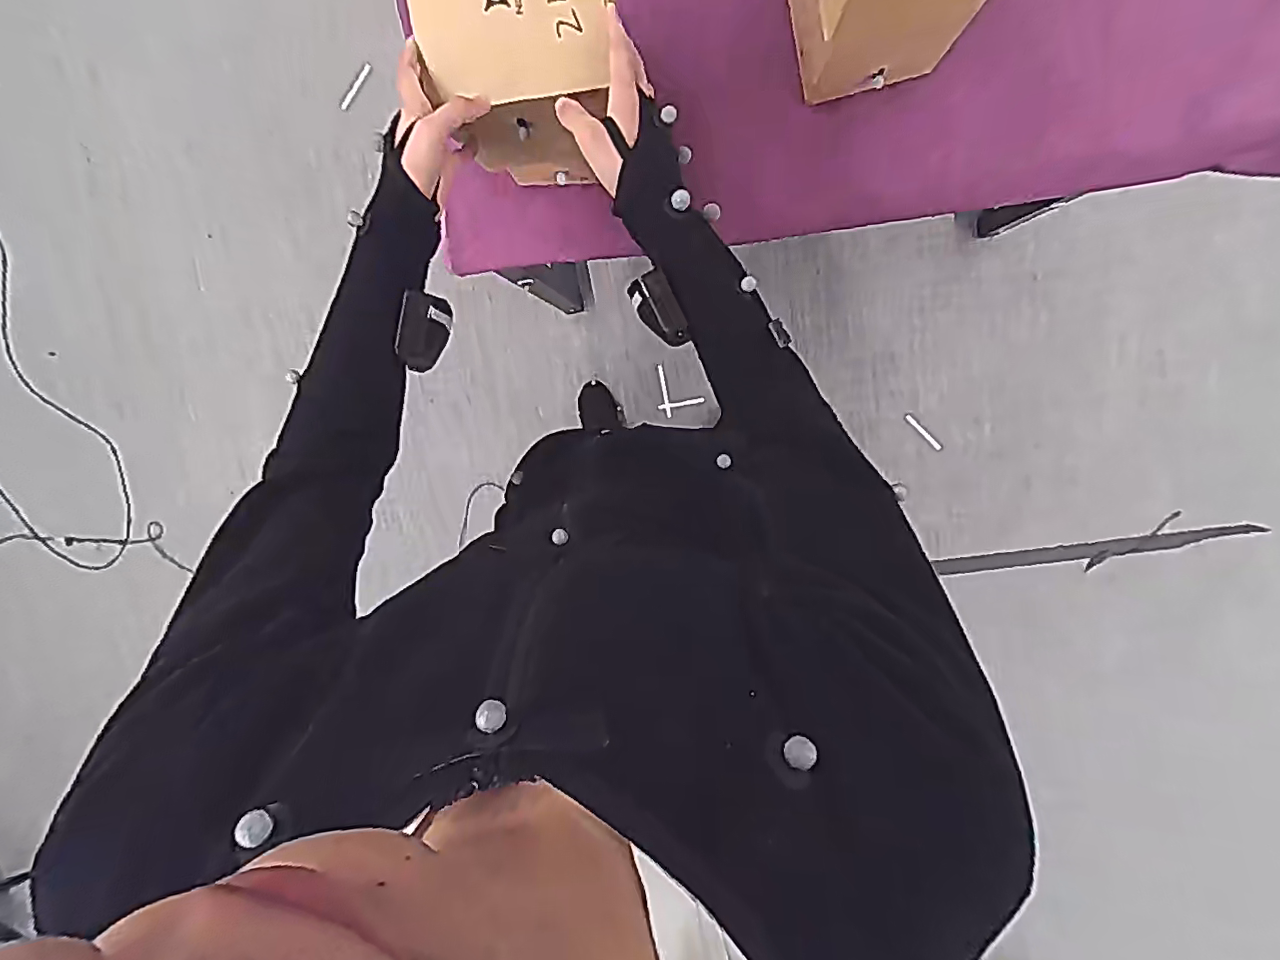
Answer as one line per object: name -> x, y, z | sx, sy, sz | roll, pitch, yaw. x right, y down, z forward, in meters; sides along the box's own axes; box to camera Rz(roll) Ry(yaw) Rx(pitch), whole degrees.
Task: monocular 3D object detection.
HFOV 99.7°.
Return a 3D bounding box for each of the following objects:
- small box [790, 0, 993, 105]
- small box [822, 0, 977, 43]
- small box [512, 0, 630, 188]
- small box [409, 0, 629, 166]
small box -> 0.301, -0.612, 0.673 | 0.179, 0.176, 0.168 | -12, 98, 5
small box -> 0.272, -0.571, 0.517 | 0.179, 0.176, 0.168 | -11, 99, 6
small box -> -0.104, -0.513, 0.720 | 0.168, 0.176, 0.179 | 0, 101, 4
small box -> -0.110, -0.434, 0.540 | 0.179, 0.176, 0.168 | -5, 105, 4
